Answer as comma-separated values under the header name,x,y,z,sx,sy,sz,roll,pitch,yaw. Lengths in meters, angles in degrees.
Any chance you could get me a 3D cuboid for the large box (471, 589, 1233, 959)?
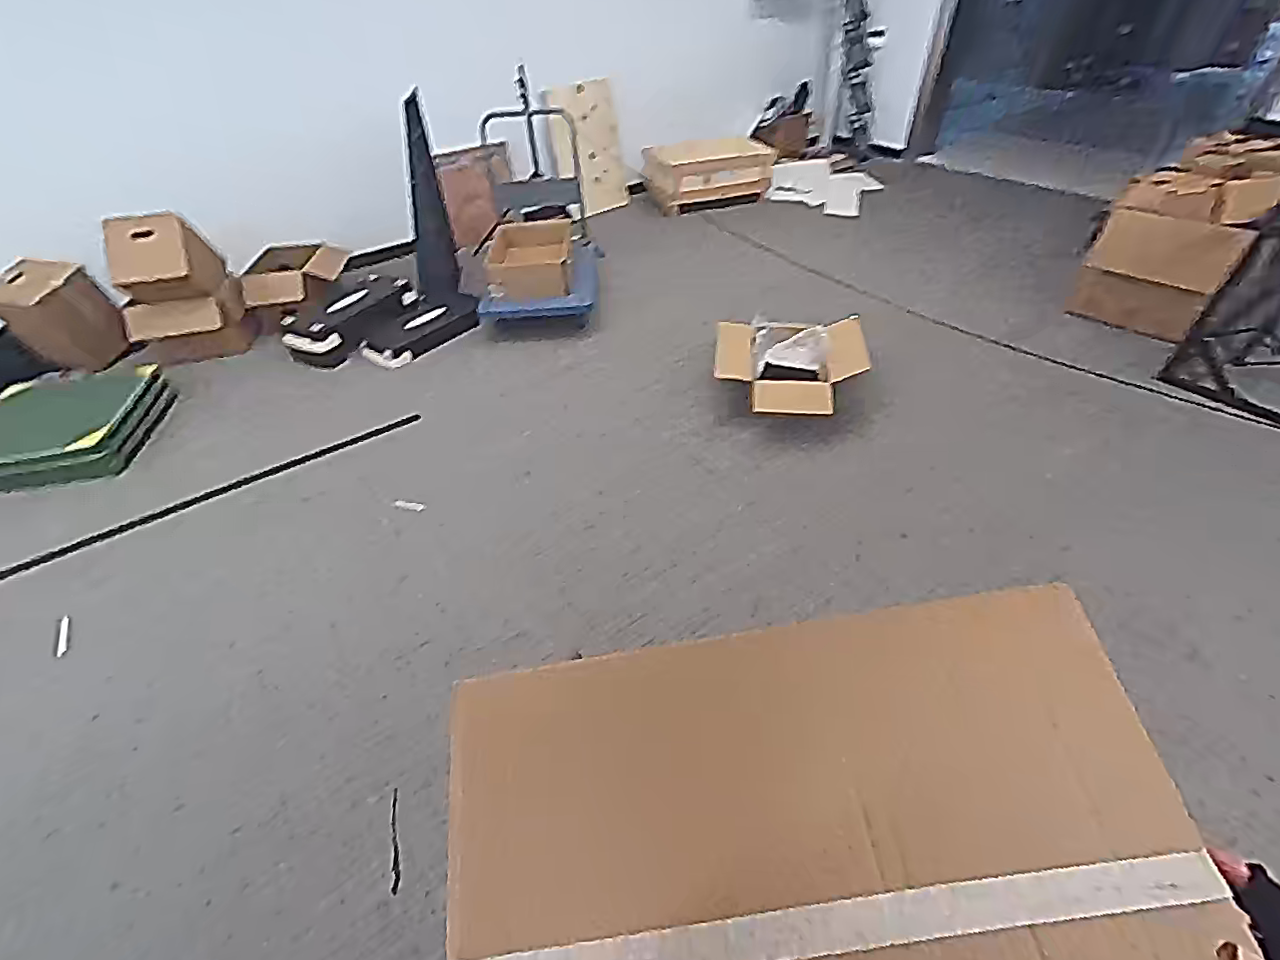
name,x,y,z,sx,sy,sz,roll,pitch,yaw
large box,0.116,0.309,0.433,0.408,0.320,0.320,-10,65,2
